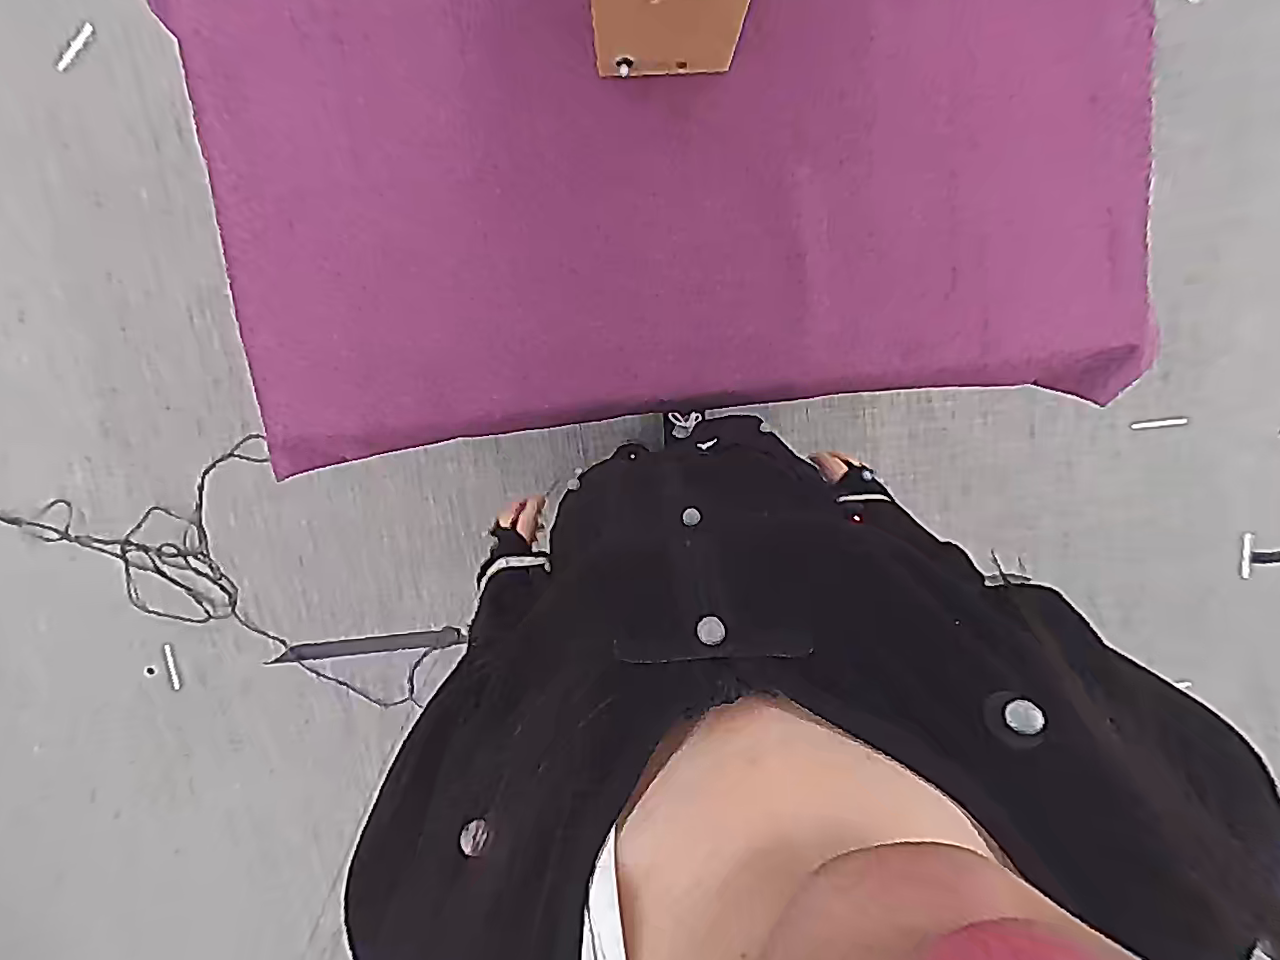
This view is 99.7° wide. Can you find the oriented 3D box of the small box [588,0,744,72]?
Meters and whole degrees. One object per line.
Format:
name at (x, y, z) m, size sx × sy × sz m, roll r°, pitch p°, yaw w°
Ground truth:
small box at (0.027, -0.575, 0.582) m, size 0.168 × 0.176 × 0.179 m, roll -2°, pitch 100°, yaw -1°
